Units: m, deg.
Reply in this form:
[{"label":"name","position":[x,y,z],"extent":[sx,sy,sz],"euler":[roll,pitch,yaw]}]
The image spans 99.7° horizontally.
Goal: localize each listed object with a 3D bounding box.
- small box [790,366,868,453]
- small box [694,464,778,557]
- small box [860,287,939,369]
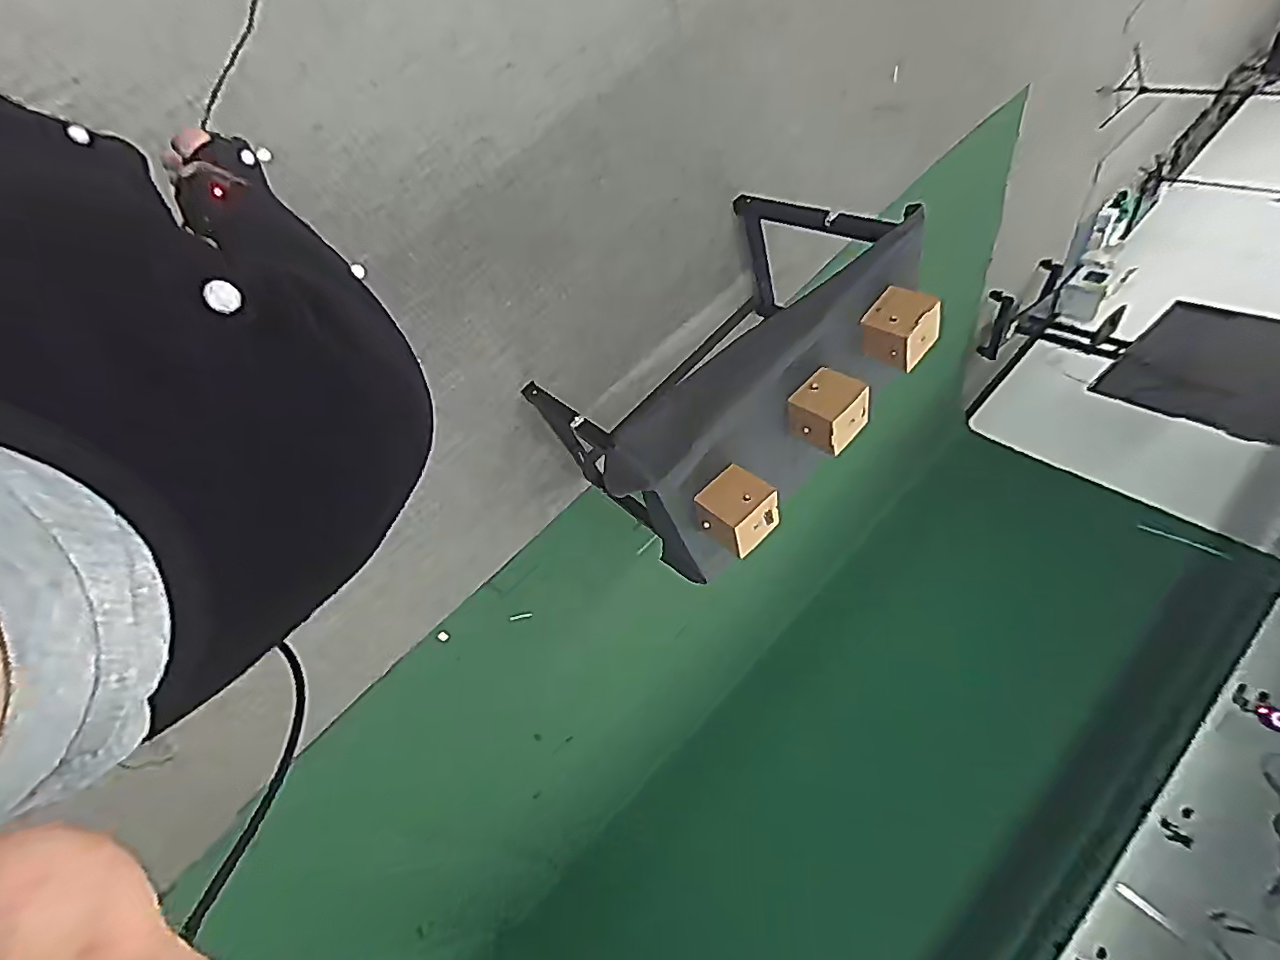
[{"label":"small box","position":[0.580,-0.221,1.678],"extent":[0.179,0.176,0.168],"euler":[-42,141,-13]},{"label":"small box","position":[0.285,0.084,1.598],"extent":[0.179,0.176,0.168],"euler":[-40,140,-17]},{"label":"small box","position":[0.826,-0.492,1.729],"extent":[0.168,0.176,0.179],"euler":[-48,145,-4]}]
